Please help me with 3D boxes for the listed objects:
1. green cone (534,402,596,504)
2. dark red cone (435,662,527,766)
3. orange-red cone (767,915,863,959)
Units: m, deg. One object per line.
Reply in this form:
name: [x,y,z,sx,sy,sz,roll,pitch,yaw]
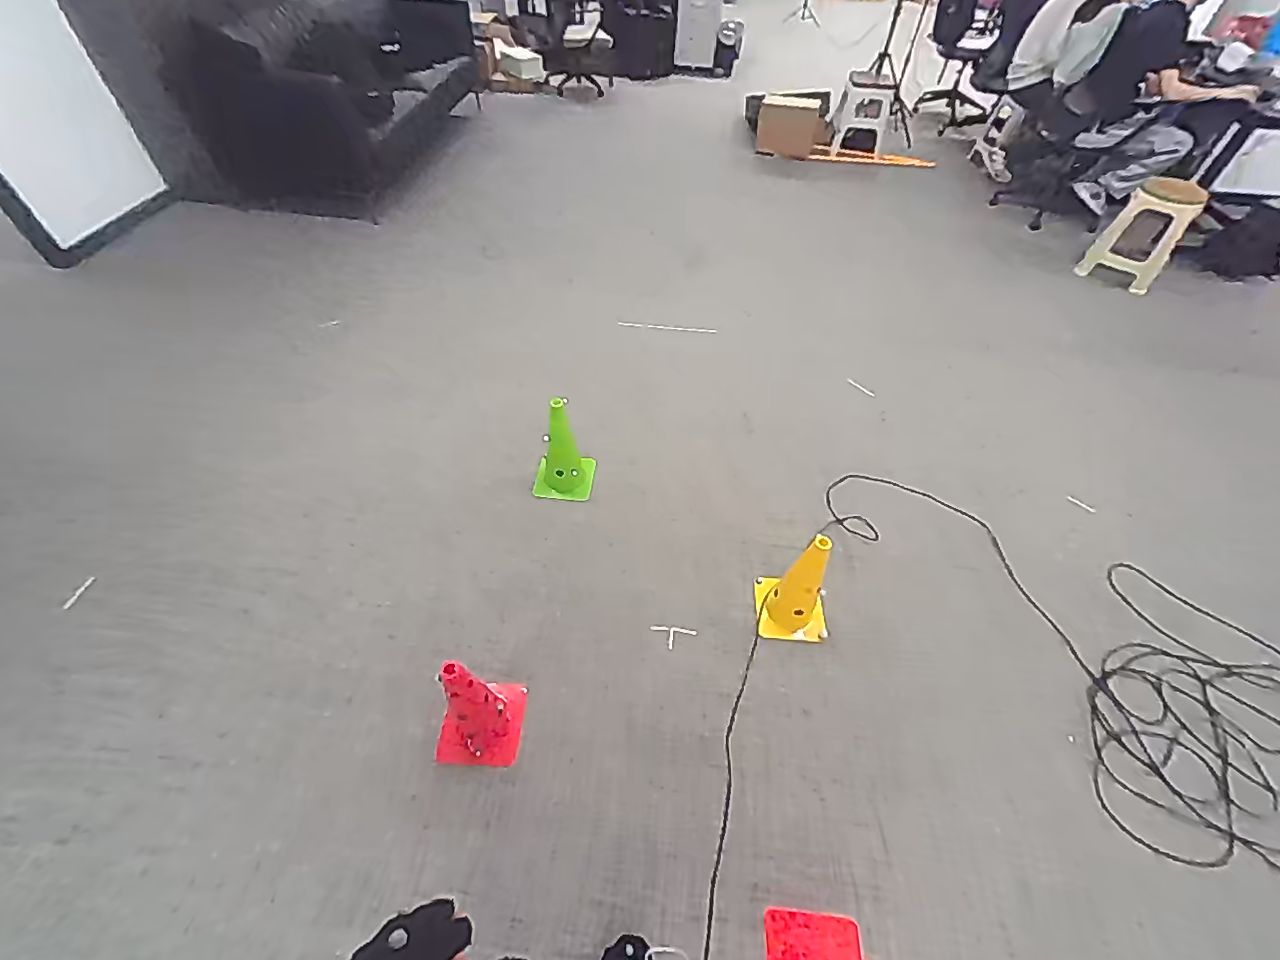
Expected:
green cone: [-0.258,-0.110,1.802,0.202,0.368,0.200,6,50,1]
dark red cone: [-0.390,0.504,1.234,0.202,0.394,0.201,2,50,0]
orange-red cone: [0.363,0.894,0.953,0.198,0.360,0.199,7,48,3]
